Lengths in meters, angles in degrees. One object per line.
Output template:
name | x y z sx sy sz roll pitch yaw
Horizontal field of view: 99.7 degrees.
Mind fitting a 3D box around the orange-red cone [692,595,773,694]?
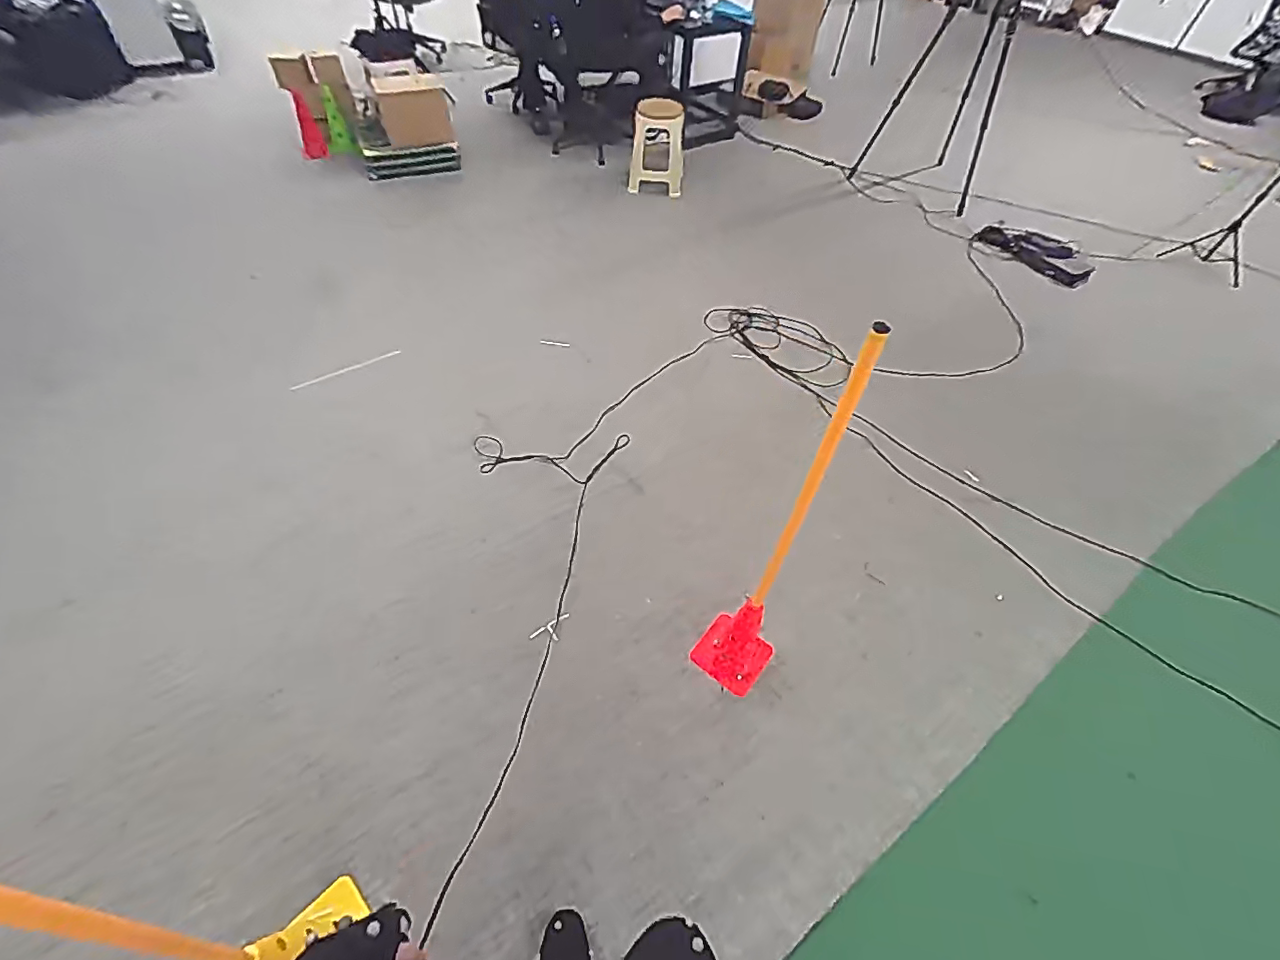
orange-red cone | 0.294 0.416 1.511 0.198 0.360 0.199 35 56 21
